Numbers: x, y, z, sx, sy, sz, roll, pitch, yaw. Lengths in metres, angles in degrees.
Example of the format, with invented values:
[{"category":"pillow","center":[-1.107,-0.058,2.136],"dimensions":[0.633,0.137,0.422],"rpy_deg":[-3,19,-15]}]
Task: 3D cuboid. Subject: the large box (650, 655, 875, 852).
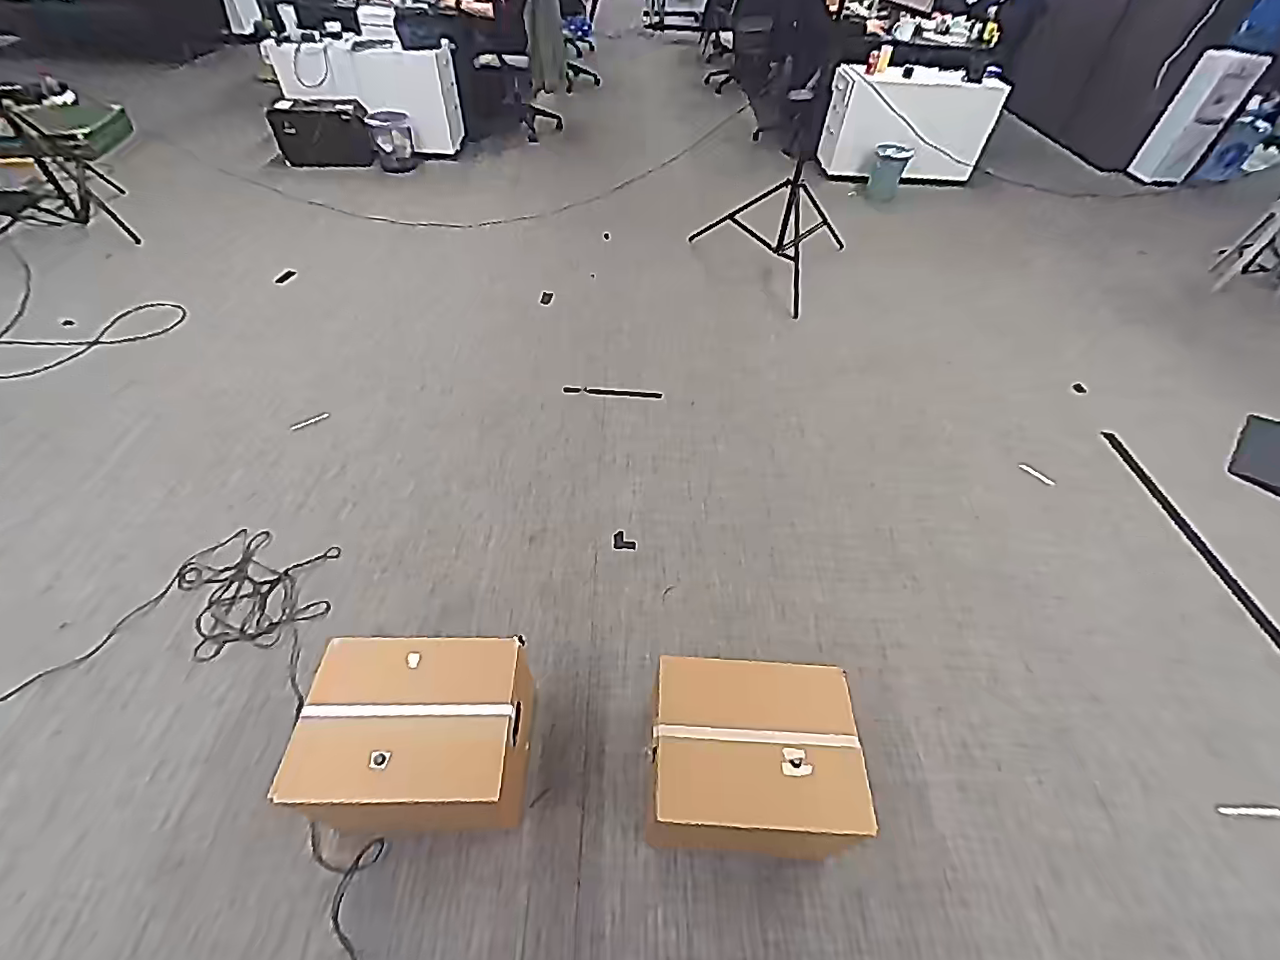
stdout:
[{"category":"large box","center":[0.231,0.608,1.193],"dimensions":[0.408,0.320,0.320],"rpy_deg":[4,49,-1]}]
